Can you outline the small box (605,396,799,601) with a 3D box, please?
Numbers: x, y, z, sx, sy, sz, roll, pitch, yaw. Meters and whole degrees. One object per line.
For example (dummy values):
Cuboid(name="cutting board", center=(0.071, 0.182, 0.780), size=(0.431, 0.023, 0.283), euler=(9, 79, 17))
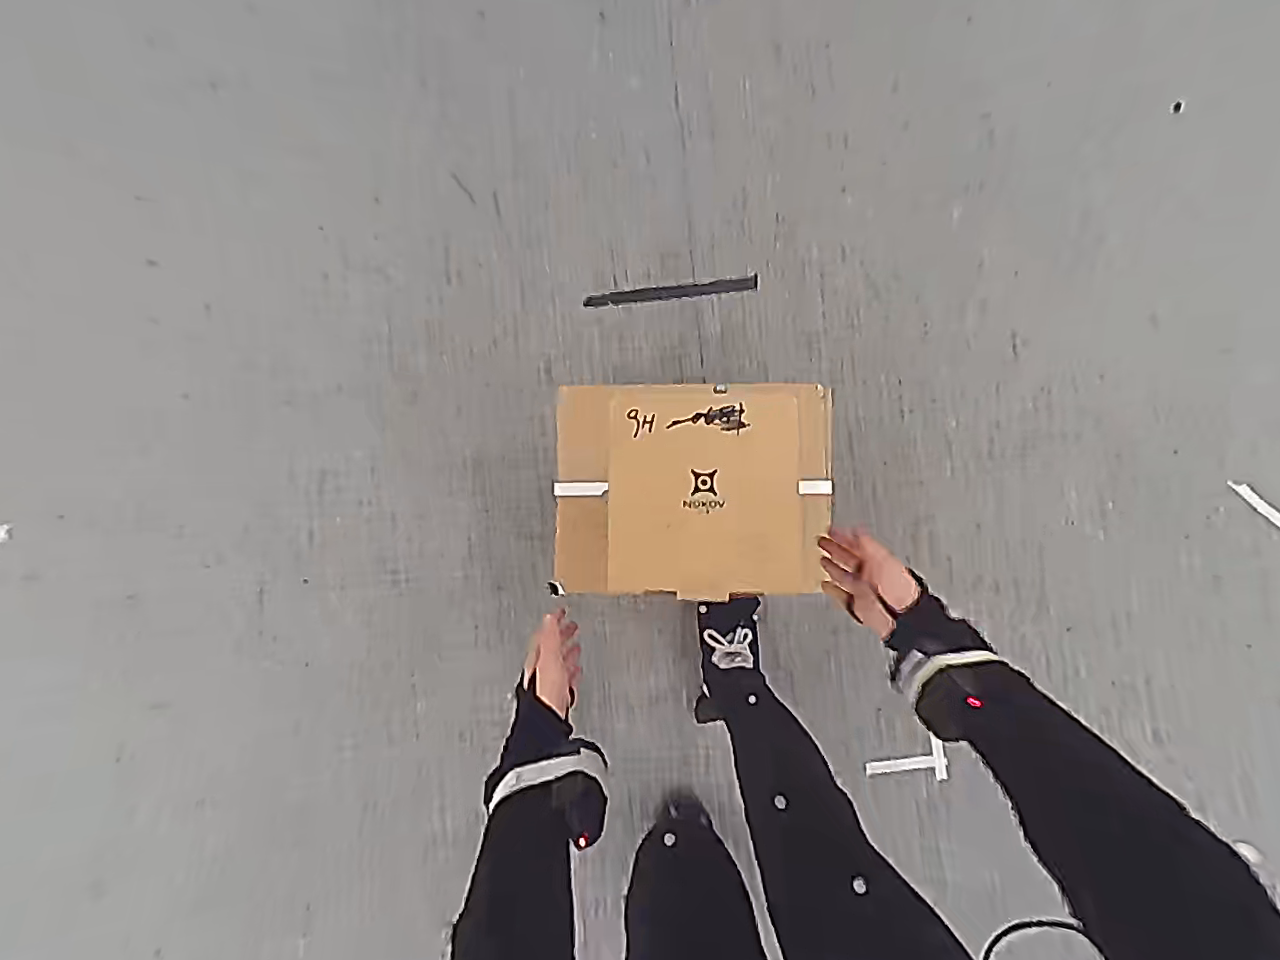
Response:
Cuboid(name="small box", center=(0.055, 0.017, 0.543), size=(0.168, 0.176, 0.179), euler=(0, 88, 1))
